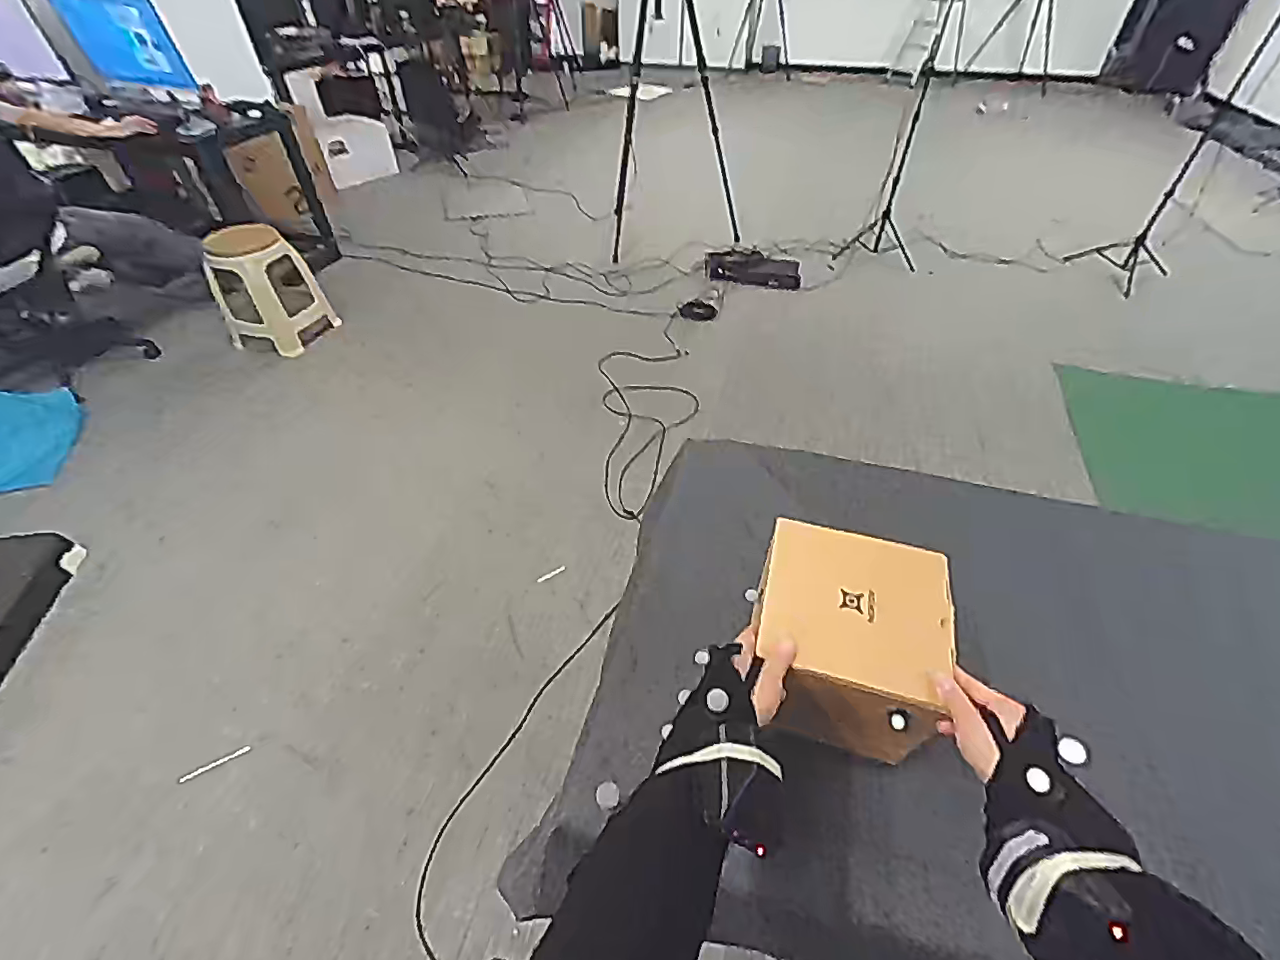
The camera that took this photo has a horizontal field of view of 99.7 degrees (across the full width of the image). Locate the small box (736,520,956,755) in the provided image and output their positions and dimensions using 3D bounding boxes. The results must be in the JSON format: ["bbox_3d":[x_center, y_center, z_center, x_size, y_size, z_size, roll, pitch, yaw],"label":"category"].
[{"bbox_3d":[0.208,0.172,0.581,0.179,0.176,0.168,13,51,11],"label":"small box"}]
